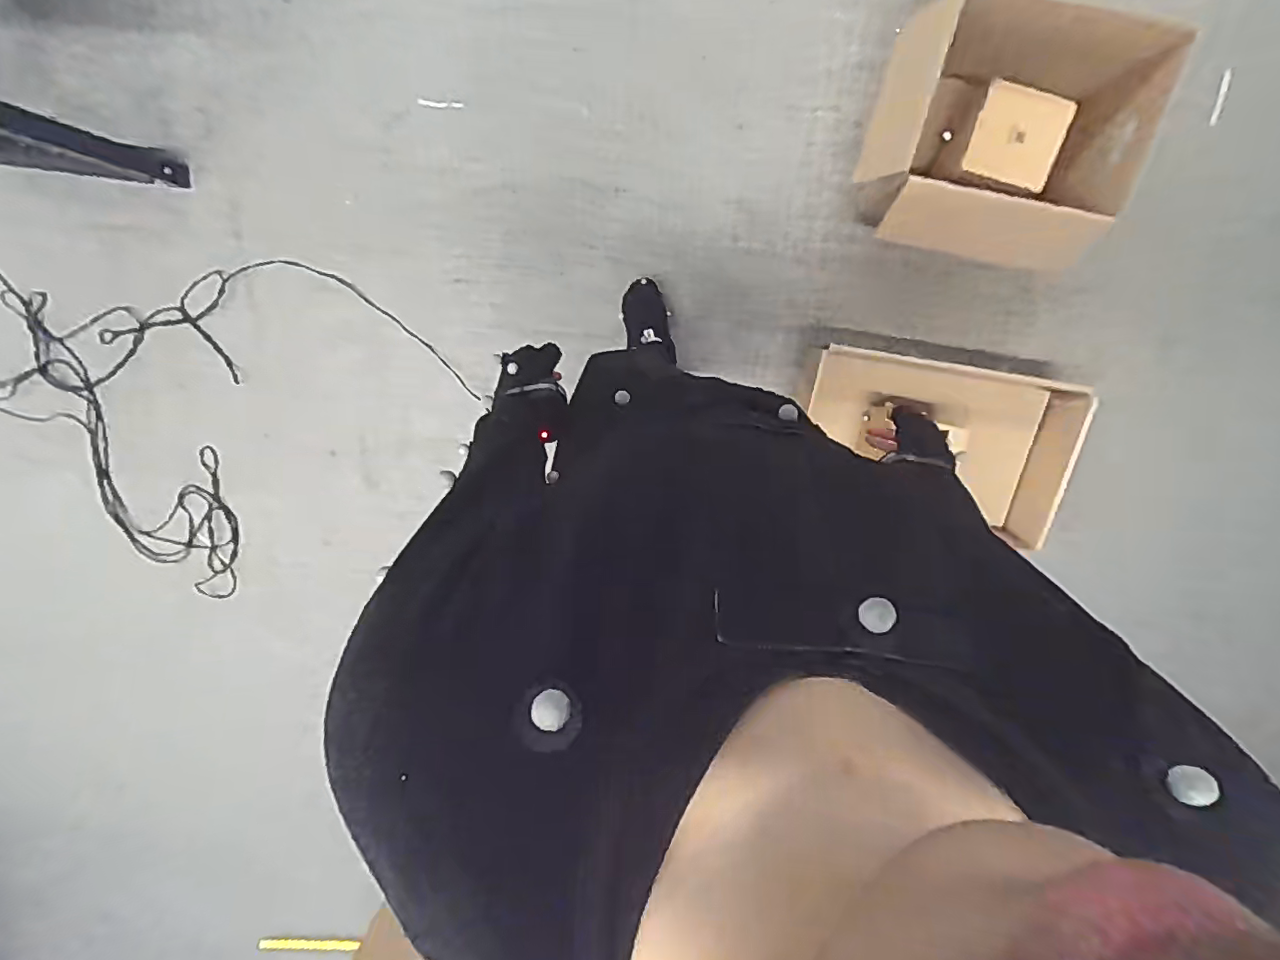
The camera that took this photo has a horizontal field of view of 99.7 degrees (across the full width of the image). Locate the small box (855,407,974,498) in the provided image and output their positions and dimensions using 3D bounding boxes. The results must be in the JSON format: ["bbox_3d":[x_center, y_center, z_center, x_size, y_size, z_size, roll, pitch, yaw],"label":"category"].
[{"bbox_3d":[0.638,-0.073,1.285,0.179,0.176,0.168,12,105,-1],"label":"small box"}]
